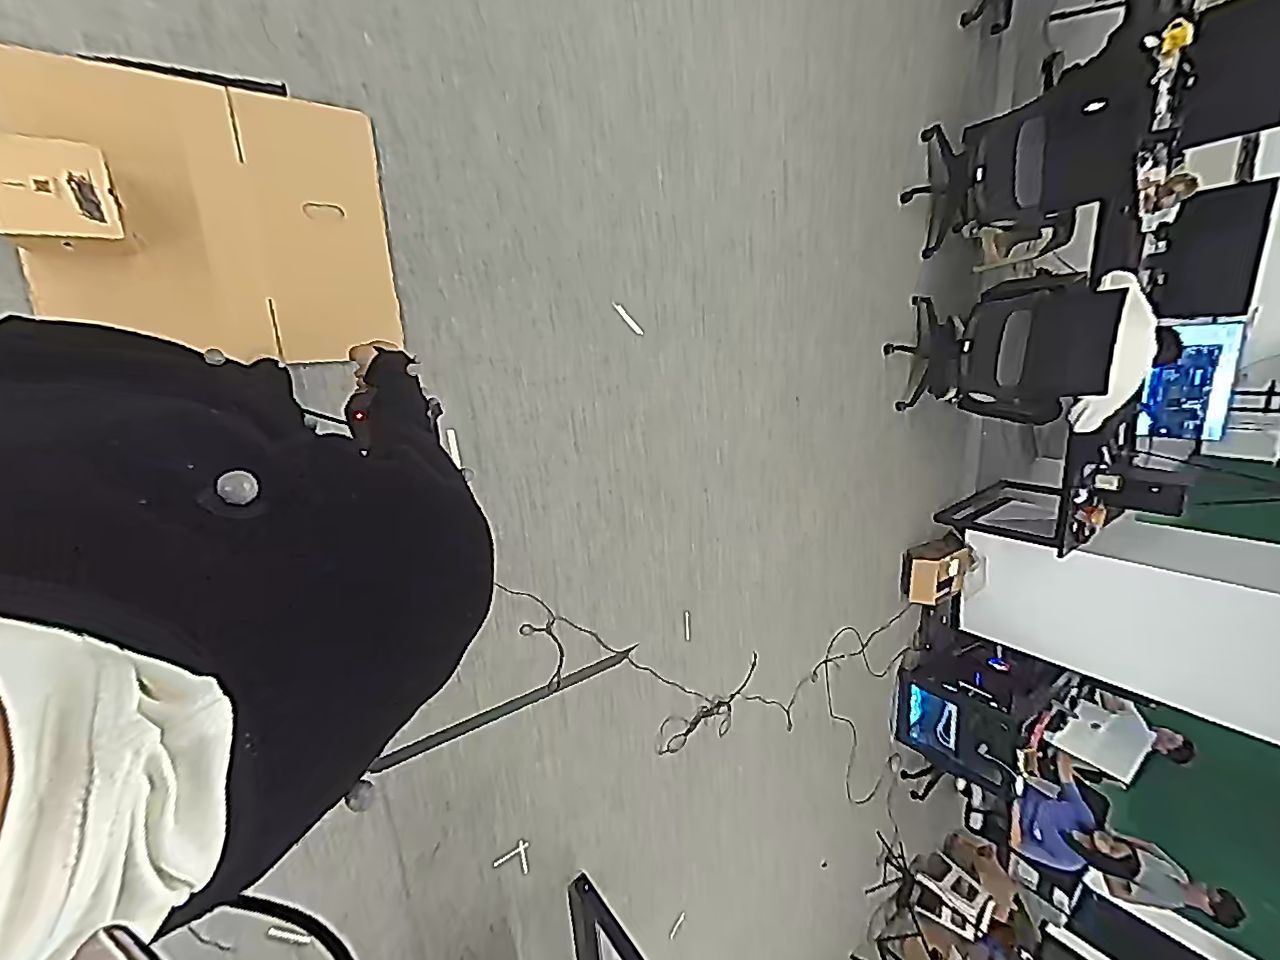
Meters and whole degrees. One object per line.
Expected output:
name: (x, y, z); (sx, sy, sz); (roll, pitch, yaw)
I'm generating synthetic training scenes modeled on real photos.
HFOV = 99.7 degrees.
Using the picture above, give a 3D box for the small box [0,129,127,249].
small box: (-1.113, -0.542, 1.025); (0.179, 0.176, 0.168); (-13, 107, -34)
